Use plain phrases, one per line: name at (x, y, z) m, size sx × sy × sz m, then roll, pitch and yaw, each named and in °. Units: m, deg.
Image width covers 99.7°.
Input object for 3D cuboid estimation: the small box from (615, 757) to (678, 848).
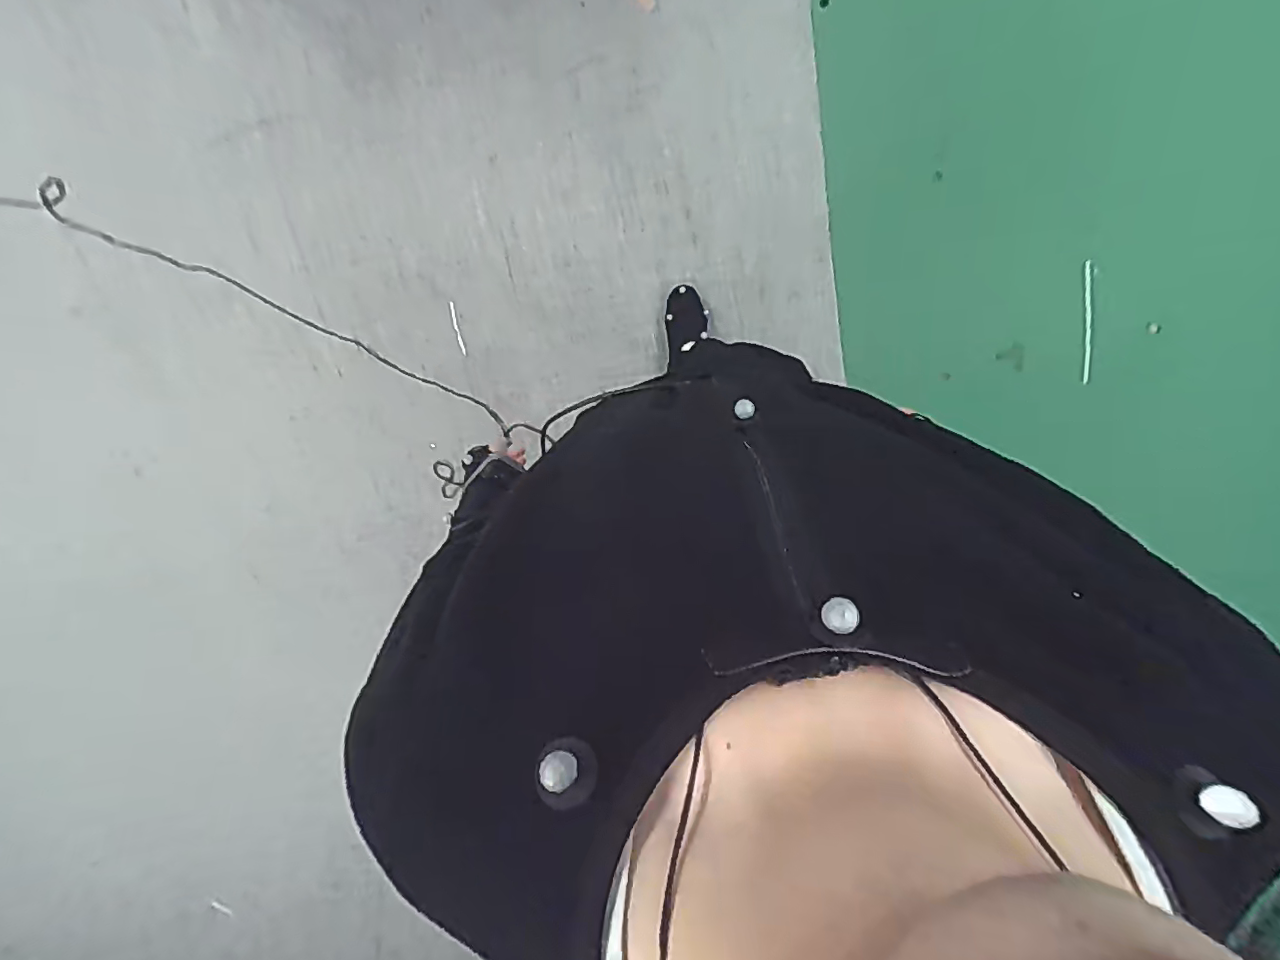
small box at (0.017, 0.965, 1.638) m, size 0.168 × 0.176 × 0.179 m, roll -9°, pitch 104°, yaw 1°
